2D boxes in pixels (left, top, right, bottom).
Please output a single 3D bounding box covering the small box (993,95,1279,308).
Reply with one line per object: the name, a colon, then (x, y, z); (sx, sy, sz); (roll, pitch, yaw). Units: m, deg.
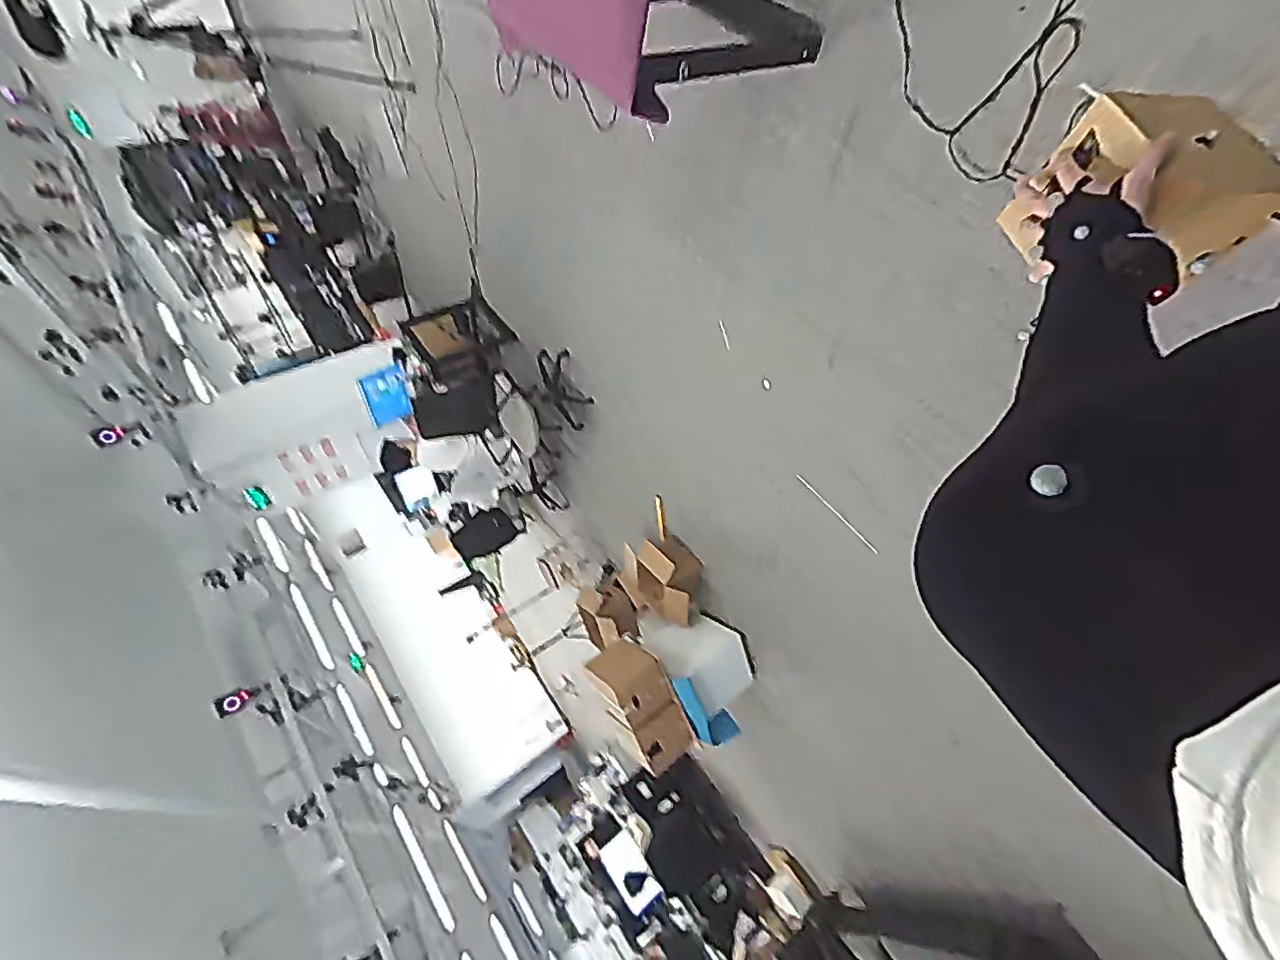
small box: (0.601, -0.336, 0.666); (0.168, 0.176, 0.179); (106, 152, -61)
